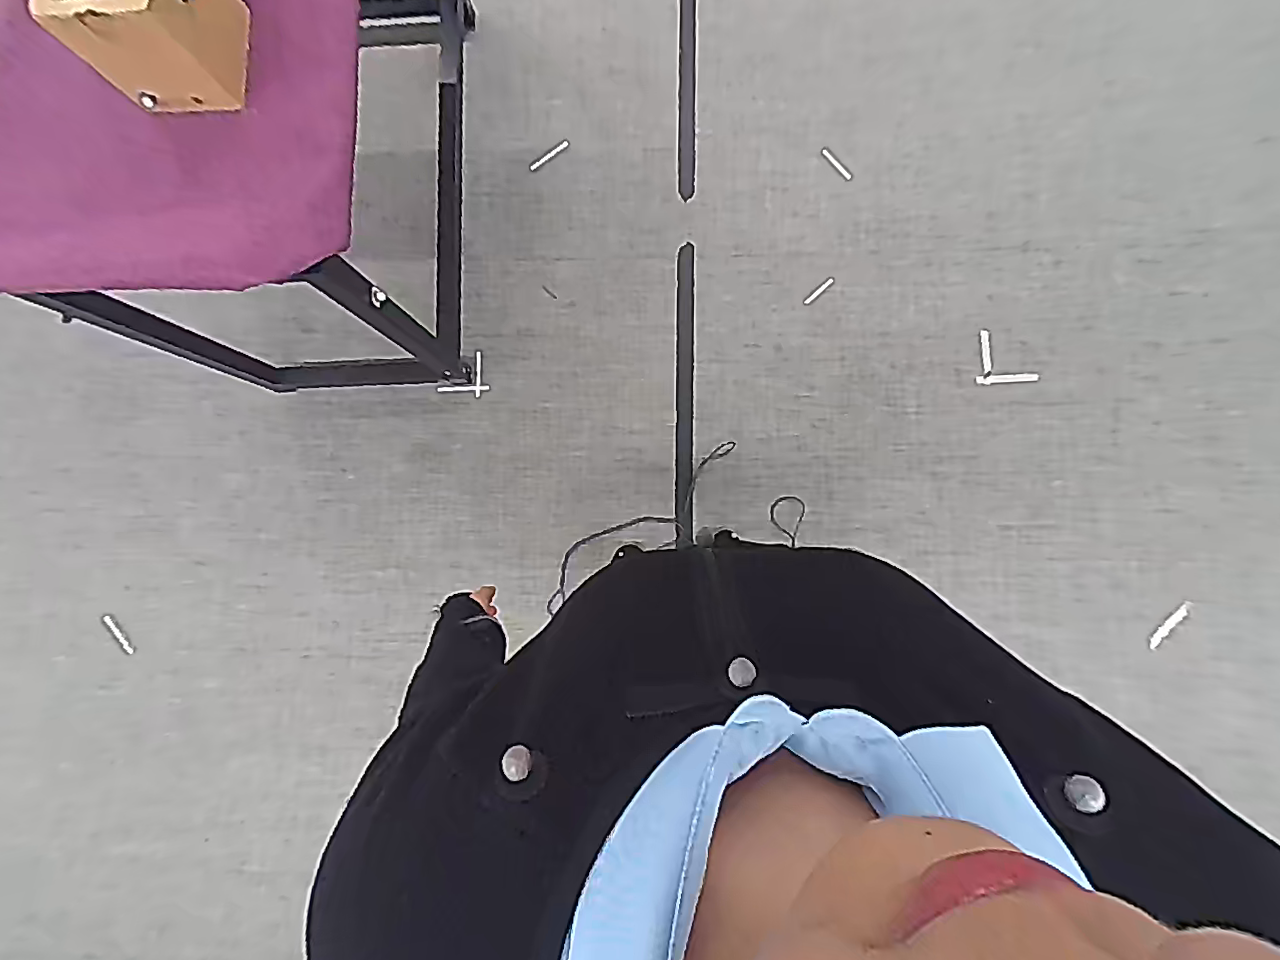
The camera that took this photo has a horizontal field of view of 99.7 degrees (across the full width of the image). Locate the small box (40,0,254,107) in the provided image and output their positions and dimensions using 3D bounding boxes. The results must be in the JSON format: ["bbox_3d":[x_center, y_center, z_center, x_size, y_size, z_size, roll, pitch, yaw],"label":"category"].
[{"bbox_3d":[-0.717,-0.693,0.807,0.168,0.176,0.179,0,84,1],"label":"small box"}]
